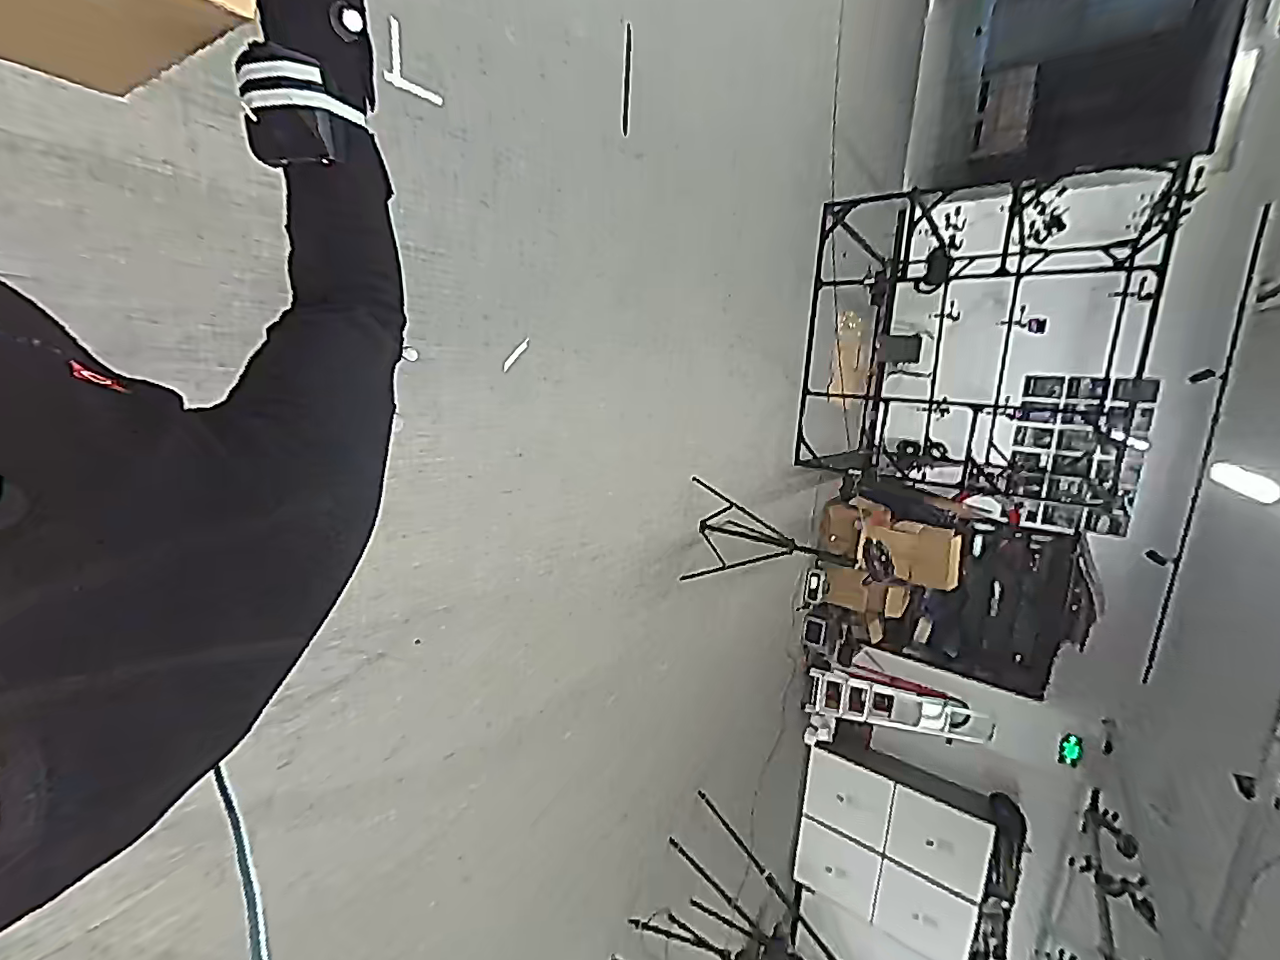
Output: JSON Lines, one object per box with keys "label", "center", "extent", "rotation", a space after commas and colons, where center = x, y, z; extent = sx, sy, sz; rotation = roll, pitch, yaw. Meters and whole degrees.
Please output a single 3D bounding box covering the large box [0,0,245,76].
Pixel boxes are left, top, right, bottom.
{"label": "large box", "center": [-0.476, -0.465, 0.242], "extent": [0.408, 0.320, 0.320], "rotation": [-13, 115, -54]}
